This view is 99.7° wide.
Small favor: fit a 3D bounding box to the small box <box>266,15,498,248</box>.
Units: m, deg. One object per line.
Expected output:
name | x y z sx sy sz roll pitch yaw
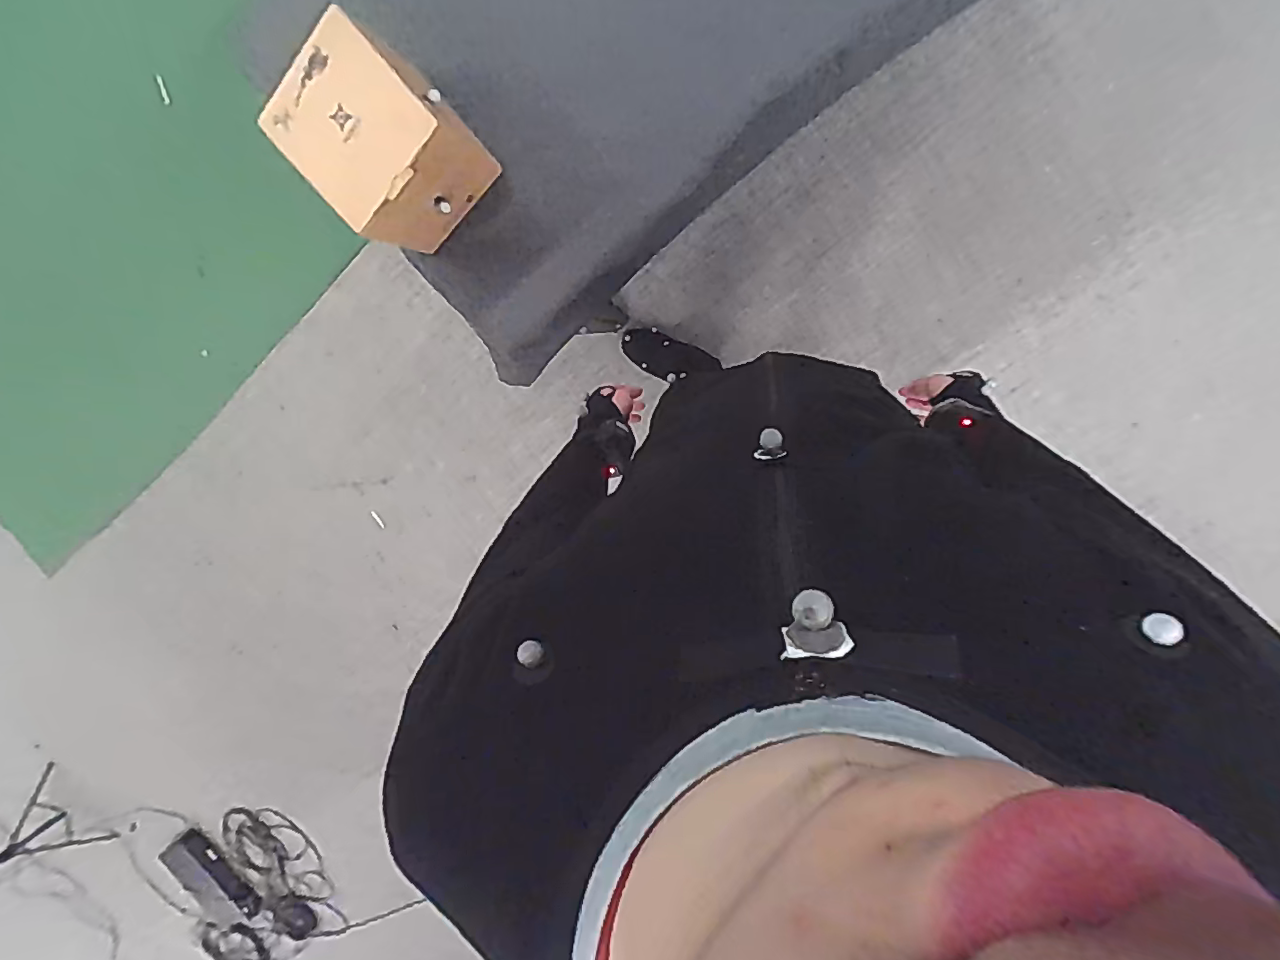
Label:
small box | -0.319 -0.428 0.706 0.168 0.176 0.179 -40 96 17
